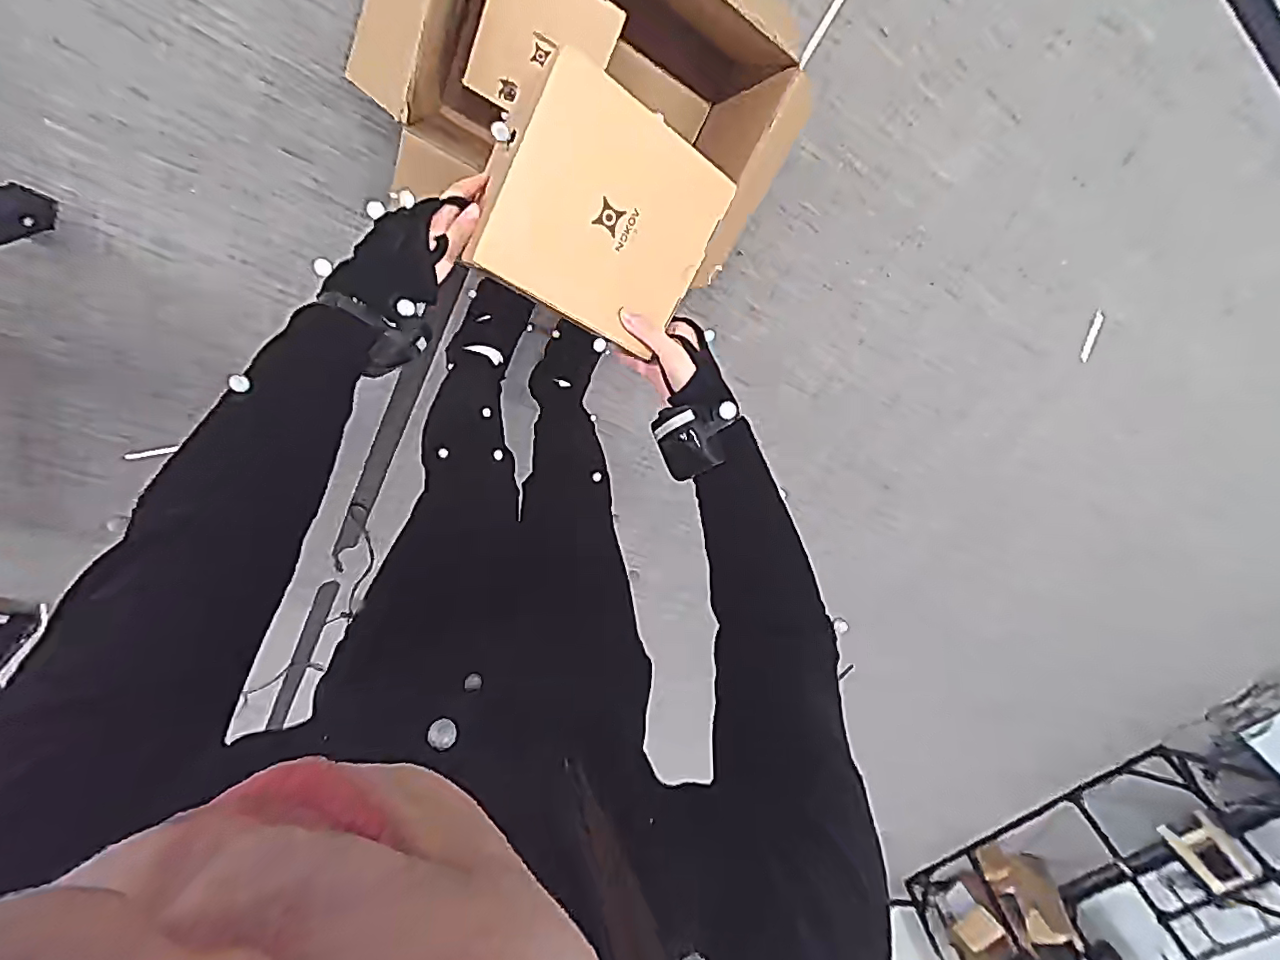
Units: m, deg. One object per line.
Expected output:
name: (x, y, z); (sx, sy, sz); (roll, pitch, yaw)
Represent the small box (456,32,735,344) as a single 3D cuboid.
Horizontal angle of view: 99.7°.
small box: (-0.054, -0.249, 0.502); (0.179, 0.176, 0.168); (21, 103, -32)
